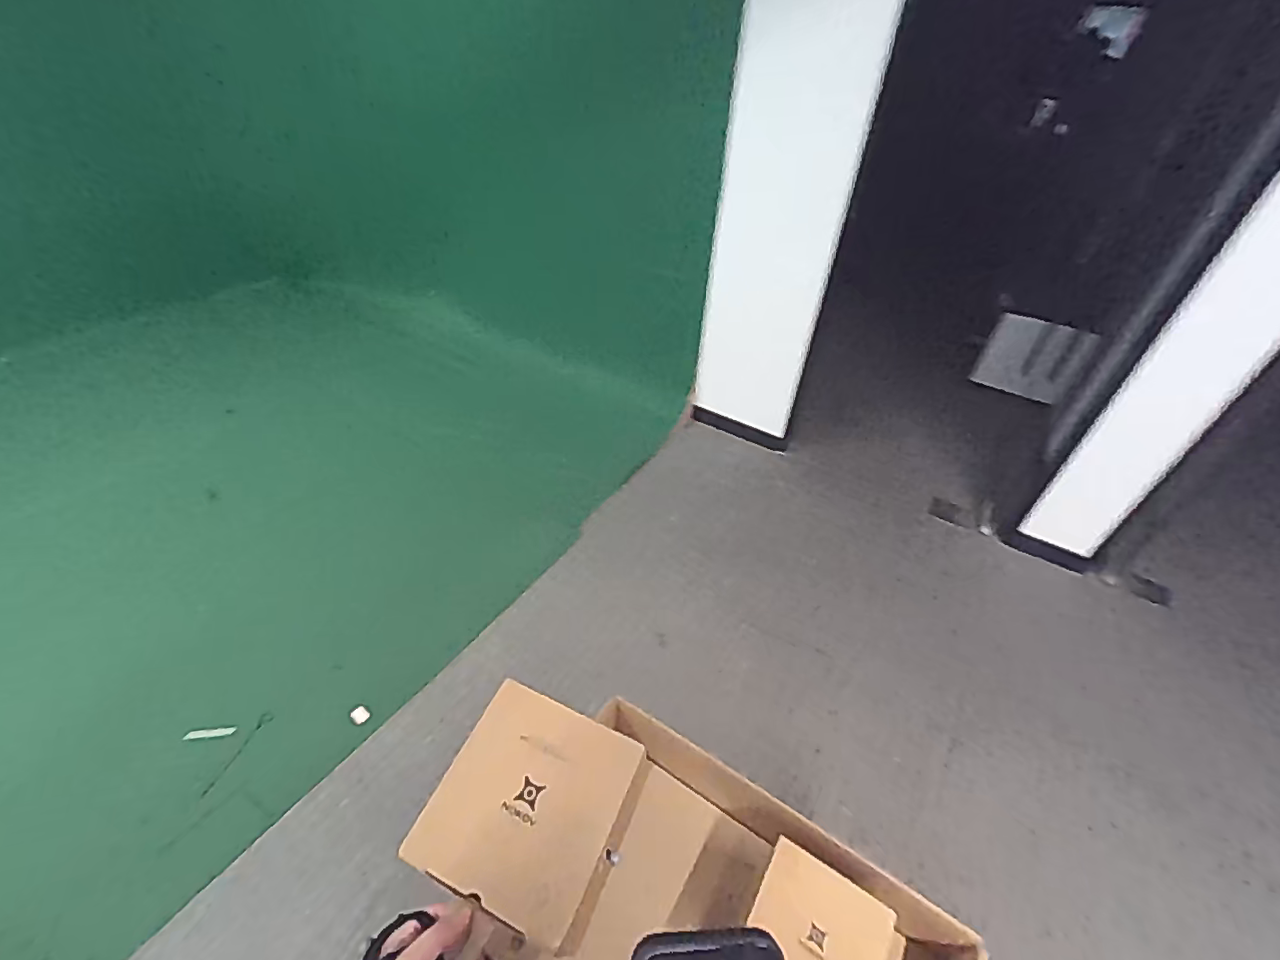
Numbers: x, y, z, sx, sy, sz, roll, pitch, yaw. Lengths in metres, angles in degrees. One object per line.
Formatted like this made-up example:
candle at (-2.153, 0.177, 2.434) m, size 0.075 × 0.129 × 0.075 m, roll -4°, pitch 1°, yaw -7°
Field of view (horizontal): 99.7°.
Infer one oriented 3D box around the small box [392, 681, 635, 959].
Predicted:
small box at (-0.109, 0.350, 0.561) m, size 0.168 × 0.176 × 0.179 m, roll 19°, pitch 52°, yaw 16°

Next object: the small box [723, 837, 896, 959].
small box at (0.221, 0.646, 0.740) m, size 0.168 × 0.176 × 0.179 m, roll 25°, pitch 47°, yaw 23°
